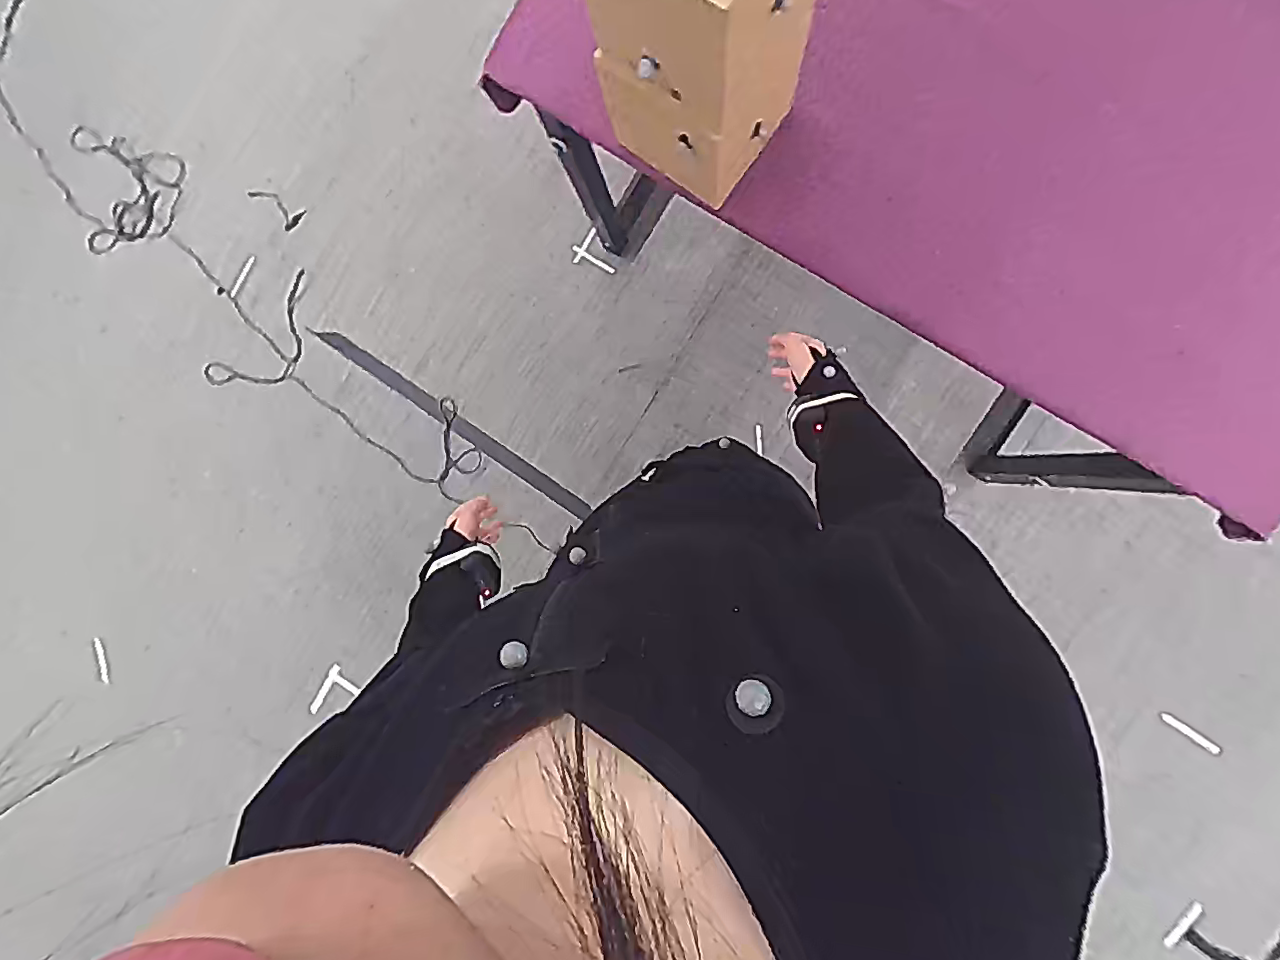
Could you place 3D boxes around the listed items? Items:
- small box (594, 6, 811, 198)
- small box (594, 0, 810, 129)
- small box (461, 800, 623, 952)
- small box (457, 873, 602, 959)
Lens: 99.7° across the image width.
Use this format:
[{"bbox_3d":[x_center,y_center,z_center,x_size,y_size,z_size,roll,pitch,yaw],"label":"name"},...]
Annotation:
[{"bbox_3d":[0.075,-0.480,0.656,0.179,0.176,0.168,37,96,5],"label":"small box"},{"bbox_3d":[0.062,-0.479,0.492,0.168,0.176,0.179,36,97,5],"label":"small box"},{"bbox_3d":[-0.143,0.671,0.864,0.168,0.176,0.179,34,97,4],"label":"small box"},{"bbox_3d":[-0.165,0.675,0.704,0.168,0.176,0.179,33,96,5],"label":"small box"}]
